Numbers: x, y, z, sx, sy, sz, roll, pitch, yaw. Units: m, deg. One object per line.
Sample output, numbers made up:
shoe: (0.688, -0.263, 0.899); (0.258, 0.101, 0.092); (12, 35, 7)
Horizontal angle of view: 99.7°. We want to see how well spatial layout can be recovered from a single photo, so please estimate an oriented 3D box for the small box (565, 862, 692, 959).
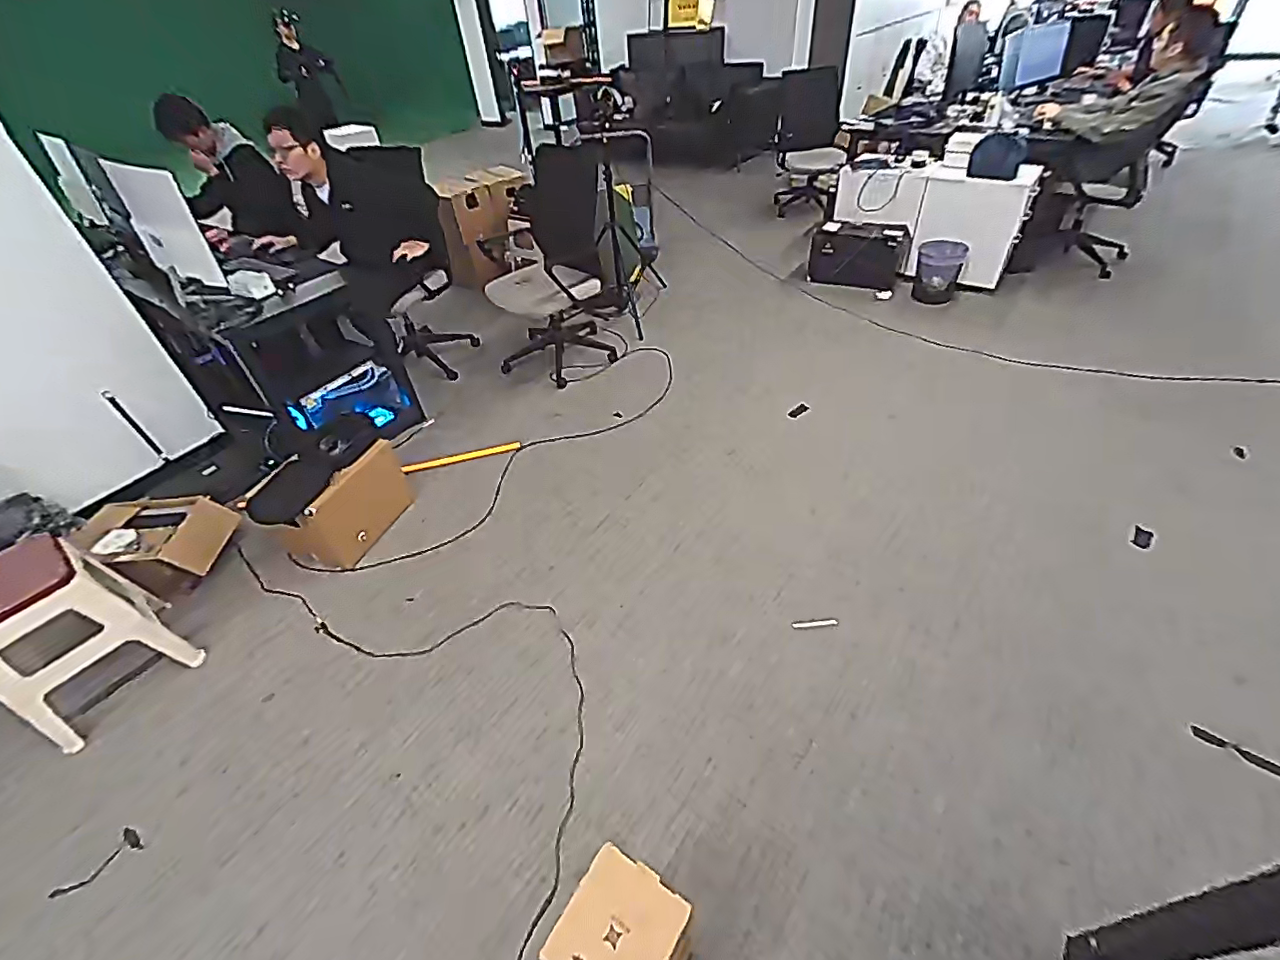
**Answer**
small box: (-0.014, 0.847, 0.973); (0.168, 0.176, 0.179); (19, 46, 24)
